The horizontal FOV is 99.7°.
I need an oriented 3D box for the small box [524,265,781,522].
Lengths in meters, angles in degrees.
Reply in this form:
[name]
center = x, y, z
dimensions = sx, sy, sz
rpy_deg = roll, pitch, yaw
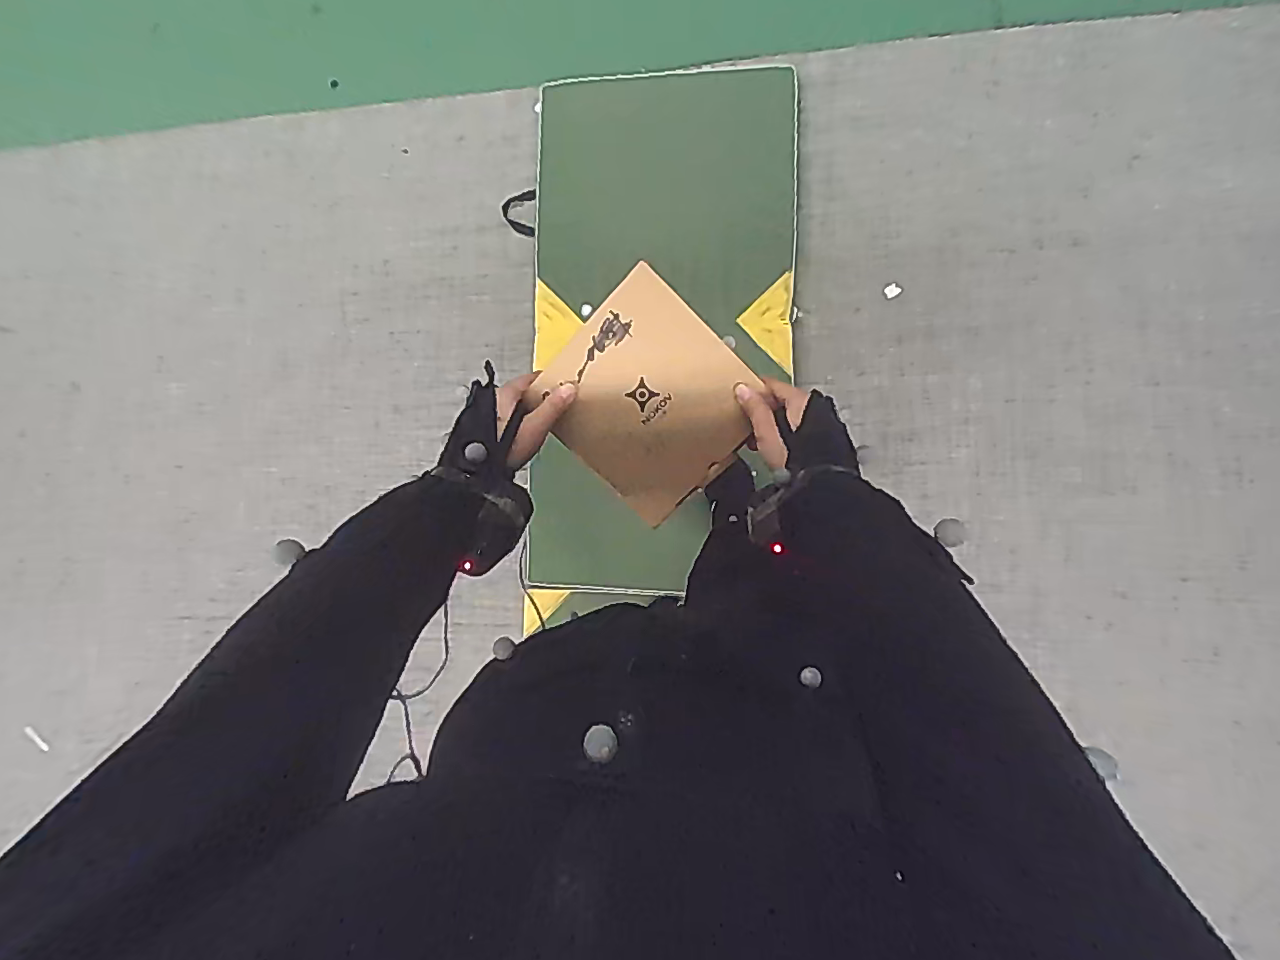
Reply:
[small box]
center = 0.016, -0.092, 0.561
dimensions = 0.179, 0.176, 0.168
rpy_deg = 44, 103, -7
